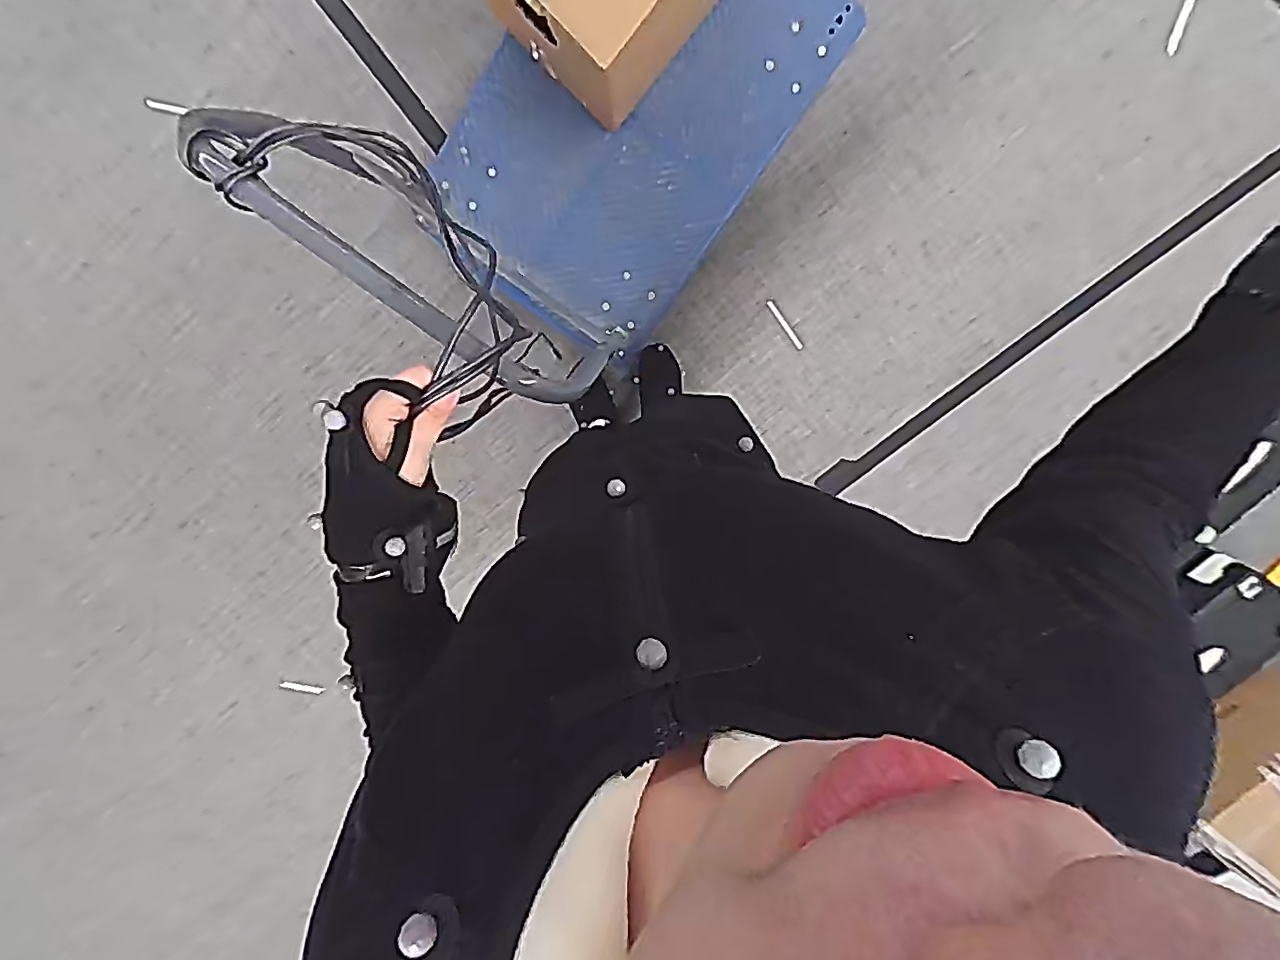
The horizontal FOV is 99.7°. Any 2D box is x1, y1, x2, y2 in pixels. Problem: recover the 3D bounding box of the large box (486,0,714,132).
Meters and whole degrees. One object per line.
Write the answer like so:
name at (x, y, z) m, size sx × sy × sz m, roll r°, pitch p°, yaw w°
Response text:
large box at (-0.041, -0.913, 0.913) m, size 0.320 × 0.320 × 0.408 m, roll 40°, pitch 102°, yaw -12°
